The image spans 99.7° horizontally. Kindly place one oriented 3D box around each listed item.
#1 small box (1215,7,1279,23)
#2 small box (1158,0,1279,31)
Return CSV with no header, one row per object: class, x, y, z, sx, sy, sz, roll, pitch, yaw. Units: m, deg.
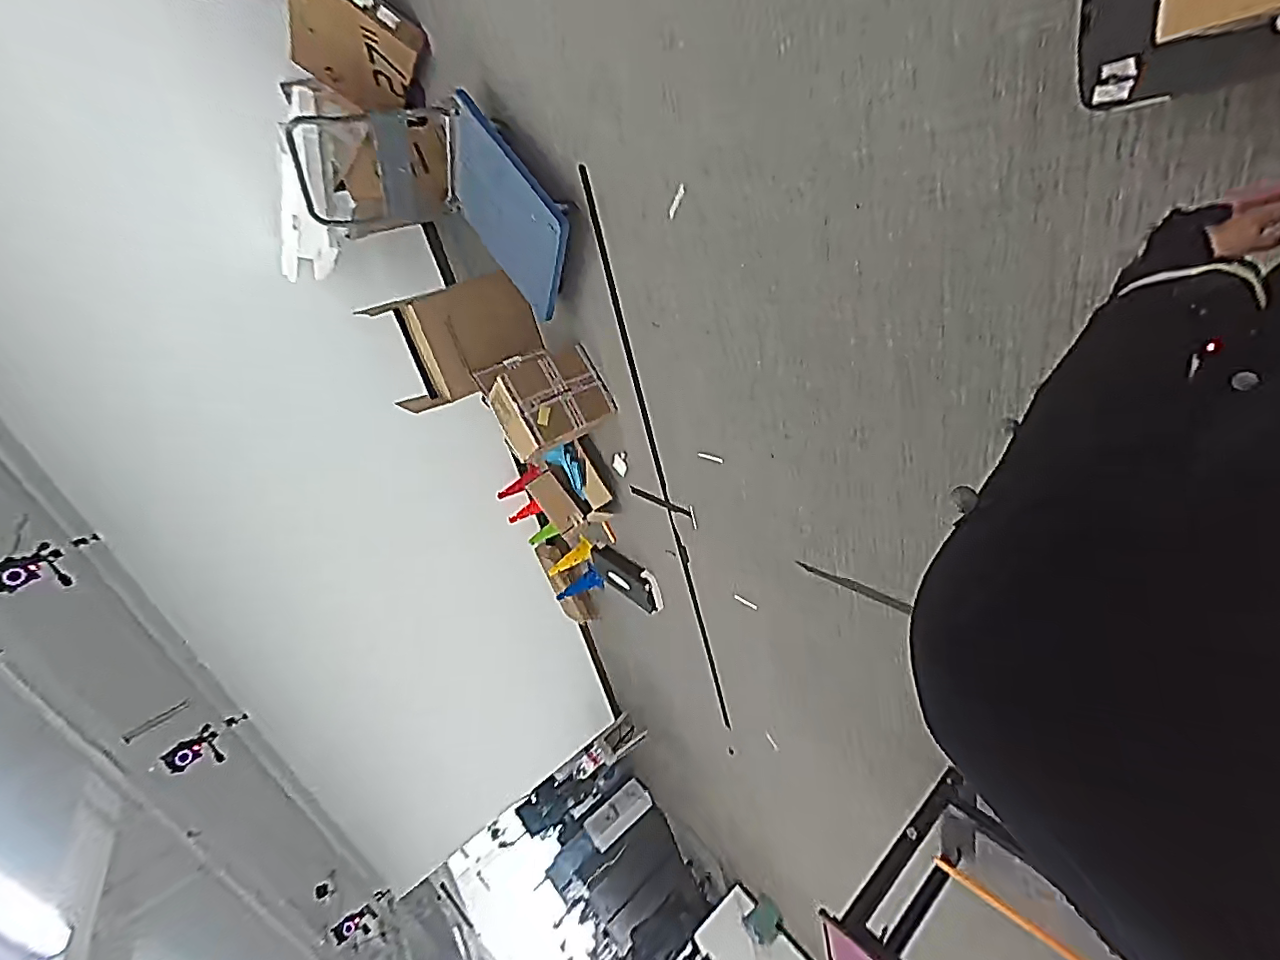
small box,0.739,-0.606,0.552,0.168,0.176,0.179,23,136,50
small box,0.610,-0.536,0.478,0.168,0.176,0.179,23,135,50
